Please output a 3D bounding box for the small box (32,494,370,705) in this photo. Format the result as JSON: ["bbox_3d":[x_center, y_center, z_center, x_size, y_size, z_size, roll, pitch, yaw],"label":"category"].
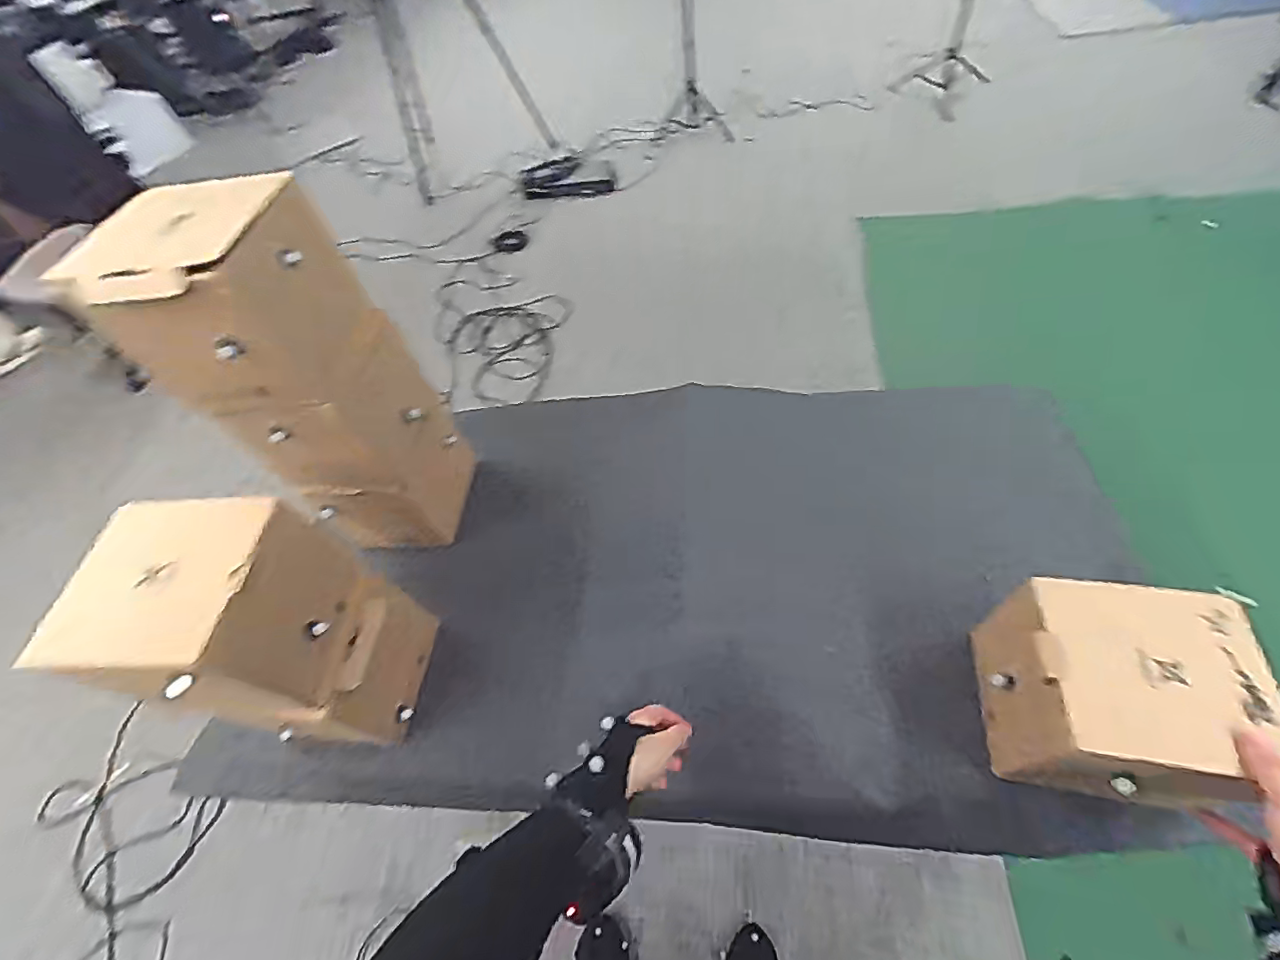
[{"bbox_3d":[-0.425,0.131,0.563,0.179,0.176,0.168,-3,55,7],"label":"small box"}]

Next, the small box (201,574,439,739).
[{"bbox_3d":[-0.388,0.225,0.691,0.179,0.176,0.168,0,56,10],"label":"small box"}]

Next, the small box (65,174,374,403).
[{"bbox_3d":[-0.423,-0.196,0.585,0.168,0.176,0.179,-3,55,6],"label":"small box"}]

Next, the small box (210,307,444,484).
[{"bbox_3d":[-0.394,-0.105,0.717,0.179,0.176,0.168,0,57,9],"label":"small box"}]

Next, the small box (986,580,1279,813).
[{"bbox_3d":[0.477,0.220,0.545,0.179,0.176,0.168,5,55,13],"label":"small box"}]
